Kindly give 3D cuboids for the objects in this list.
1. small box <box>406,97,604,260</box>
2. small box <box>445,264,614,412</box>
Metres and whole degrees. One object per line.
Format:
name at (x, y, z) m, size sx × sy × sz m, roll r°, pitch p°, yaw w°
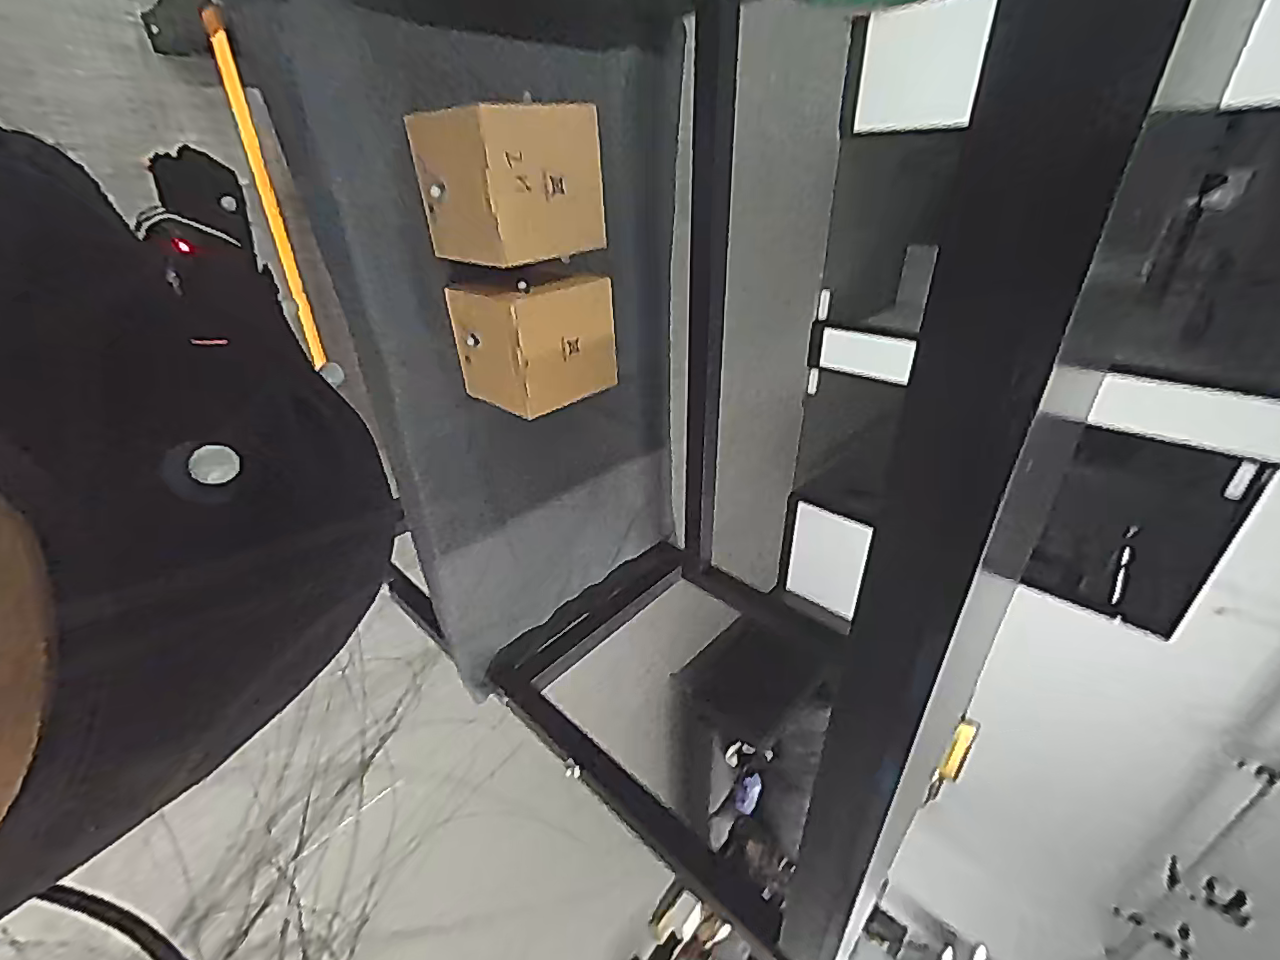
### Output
small box at (-0.170, -0.396, 0.710) m, size 0.179 × 0.176 × 0.168 m, roll -32°, pitch 132°, yaw -37°
small box at (-0.162, -0.224, 0.820) m, size 0.179 × 0.176 × 0.168 m, roll -32°, pitch 131°, yaw -38°
